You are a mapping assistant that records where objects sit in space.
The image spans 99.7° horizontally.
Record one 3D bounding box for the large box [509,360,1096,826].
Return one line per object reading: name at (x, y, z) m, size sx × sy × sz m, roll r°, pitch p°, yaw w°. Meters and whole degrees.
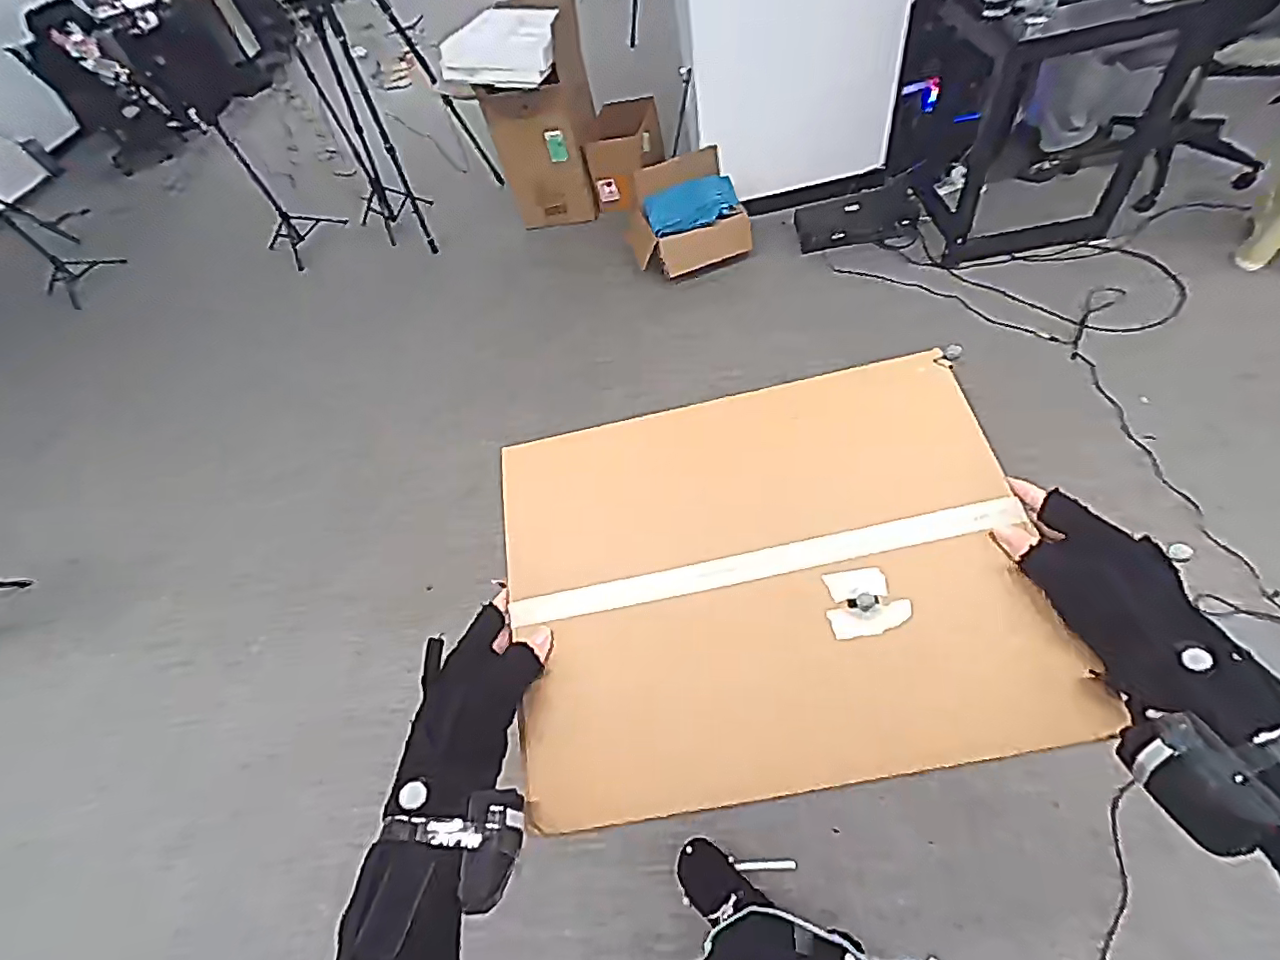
large box at (0.115, 0.131, 0.575) m, size 0.408 × 0.320 × 0.320 m, roll -13°, pitch 65°, yaw 4°
